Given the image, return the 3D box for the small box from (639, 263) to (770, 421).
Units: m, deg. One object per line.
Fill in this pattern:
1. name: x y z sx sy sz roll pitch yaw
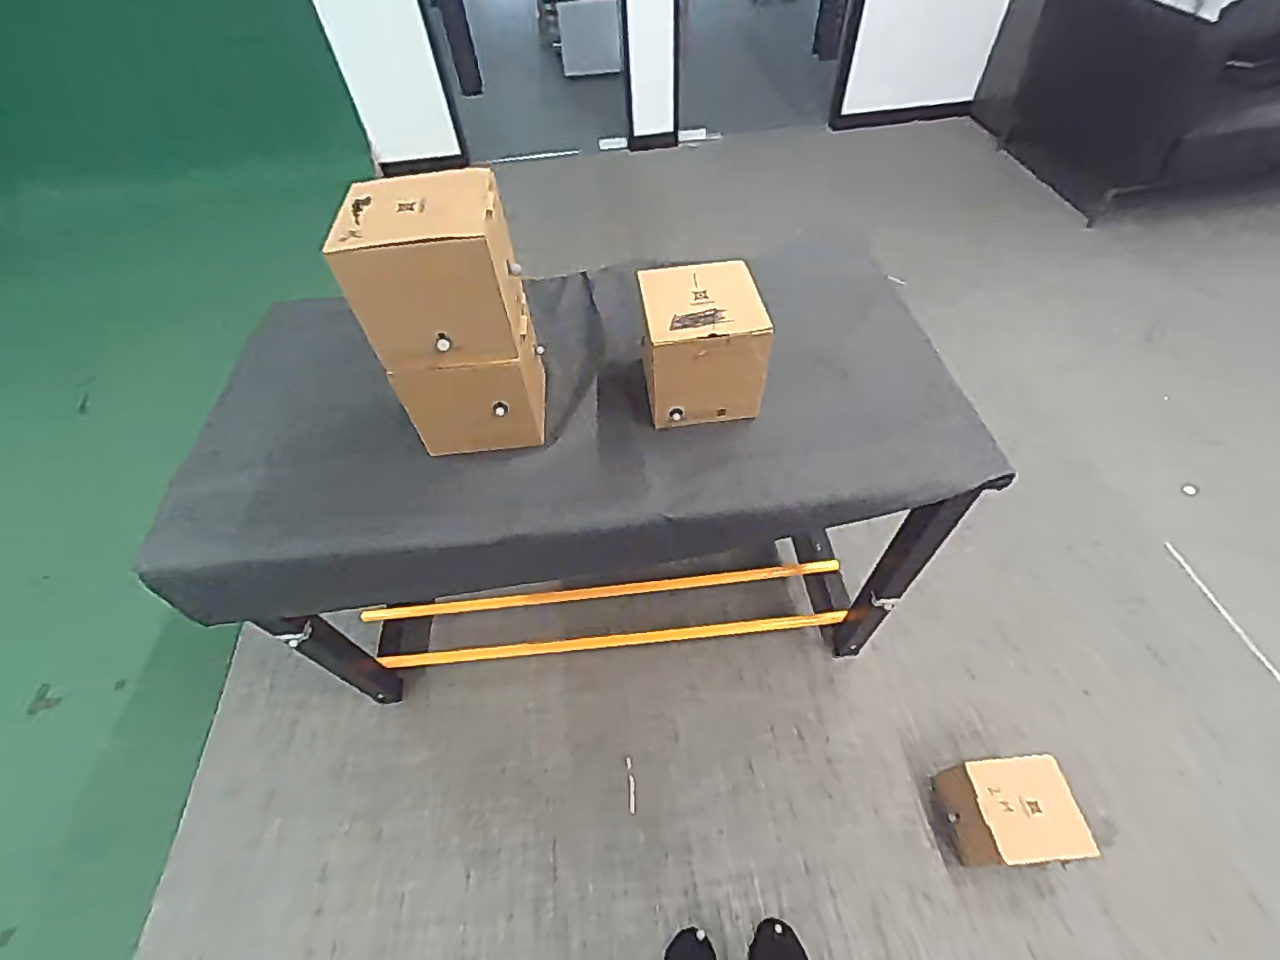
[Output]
1. small box: 0.091 -0.205 0.834 0.168 0.176 0.179 -7 51 -2

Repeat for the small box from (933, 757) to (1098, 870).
1. small box: 0.716 0.652 1.056 0.179 0.176 0.168 -5 52 -1

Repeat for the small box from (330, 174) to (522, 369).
1. small box: -0.252 -0.262 0.692 0.179 0.176 0.168 -6 52 -2

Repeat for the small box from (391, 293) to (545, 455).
1. small box: -0.242 -0.156 0.816 0.179 0.176 0.168 -6 51 -1
